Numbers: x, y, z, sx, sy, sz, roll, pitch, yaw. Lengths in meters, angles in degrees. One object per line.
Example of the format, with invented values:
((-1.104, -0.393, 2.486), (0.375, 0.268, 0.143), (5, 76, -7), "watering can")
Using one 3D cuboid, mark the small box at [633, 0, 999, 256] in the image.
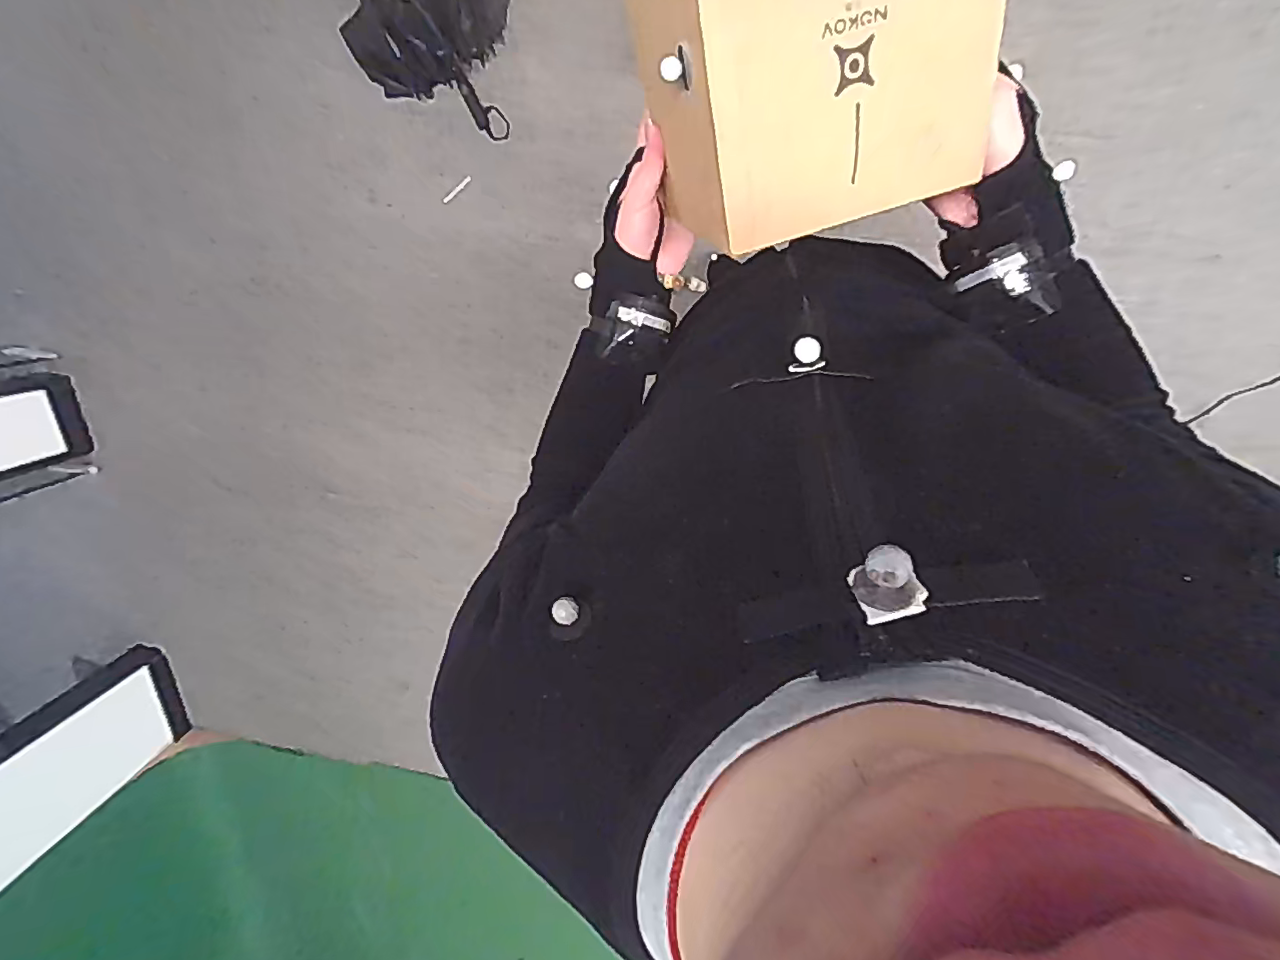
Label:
((0.099, -0.273, 0.354), (0.168, 0.176, 0.179), (-17, 127, -1), "small box")
